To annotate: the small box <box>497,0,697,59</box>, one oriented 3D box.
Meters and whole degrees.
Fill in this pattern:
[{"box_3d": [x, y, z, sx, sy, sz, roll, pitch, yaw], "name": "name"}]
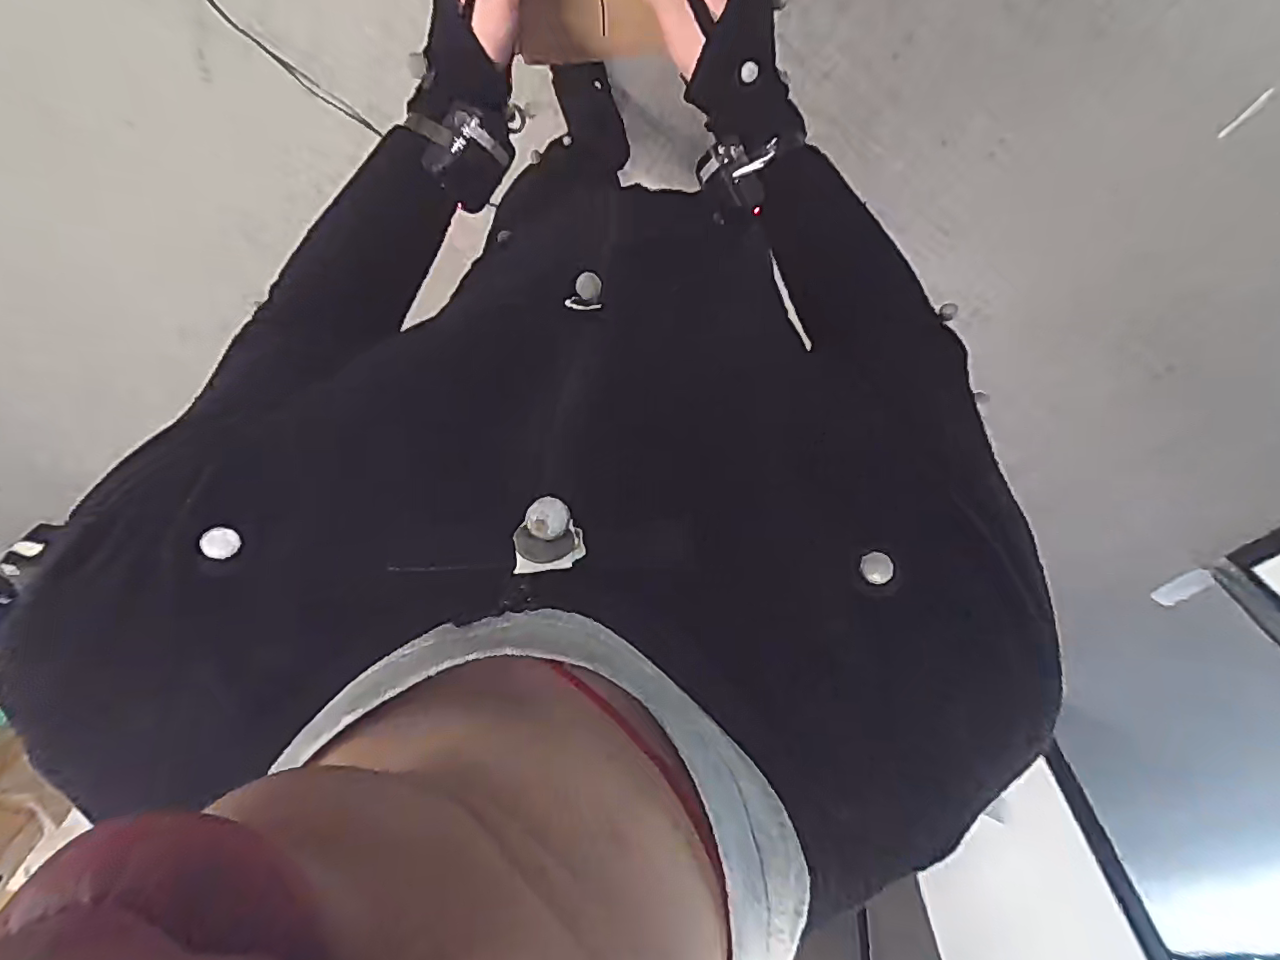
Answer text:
[{"box_3d": [-0.039, -0.487, 0.426, 0.168, 0.176, 0.179, 1, 164, 8], "name": "small box"}]
